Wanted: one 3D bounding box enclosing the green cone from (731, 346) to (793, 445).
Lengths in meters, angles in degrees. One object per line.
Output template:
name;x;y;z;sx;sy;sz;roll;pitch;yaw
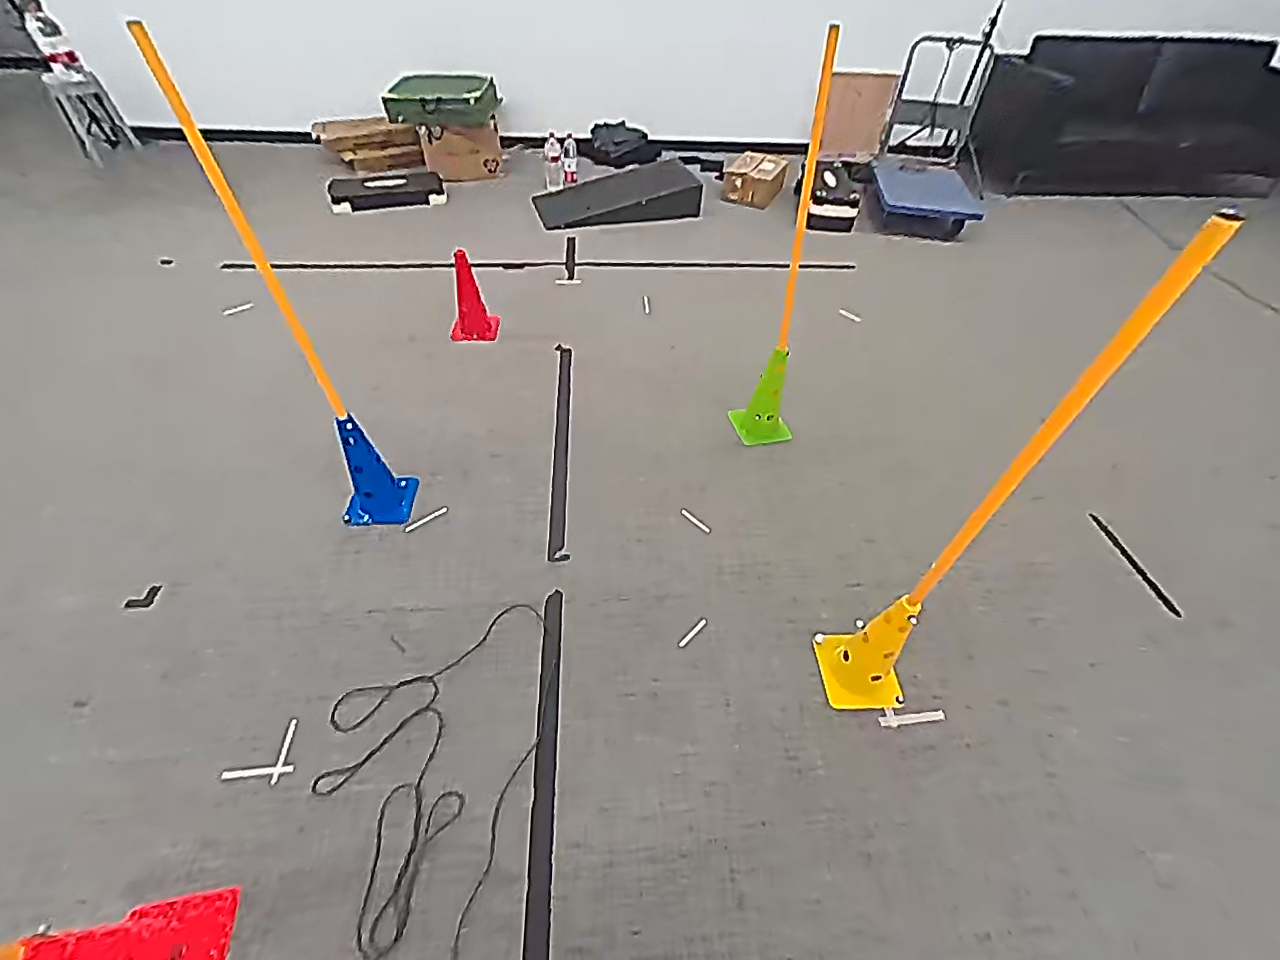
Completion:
green cone;0.475;-0.327;1.957;0.200;0.368;0.202;-9;50;-11

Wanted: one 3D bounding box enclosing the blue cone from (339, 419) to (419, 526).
blue cone;-0.819;-0.039;1.632;0.193;0.380;0.192;1;48;-2

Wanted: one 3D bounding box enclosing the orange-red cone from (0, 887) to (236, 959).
orange-red cone;-0.861;0.762;0.864;0.199;0.360;0.198;-4;48;-9
